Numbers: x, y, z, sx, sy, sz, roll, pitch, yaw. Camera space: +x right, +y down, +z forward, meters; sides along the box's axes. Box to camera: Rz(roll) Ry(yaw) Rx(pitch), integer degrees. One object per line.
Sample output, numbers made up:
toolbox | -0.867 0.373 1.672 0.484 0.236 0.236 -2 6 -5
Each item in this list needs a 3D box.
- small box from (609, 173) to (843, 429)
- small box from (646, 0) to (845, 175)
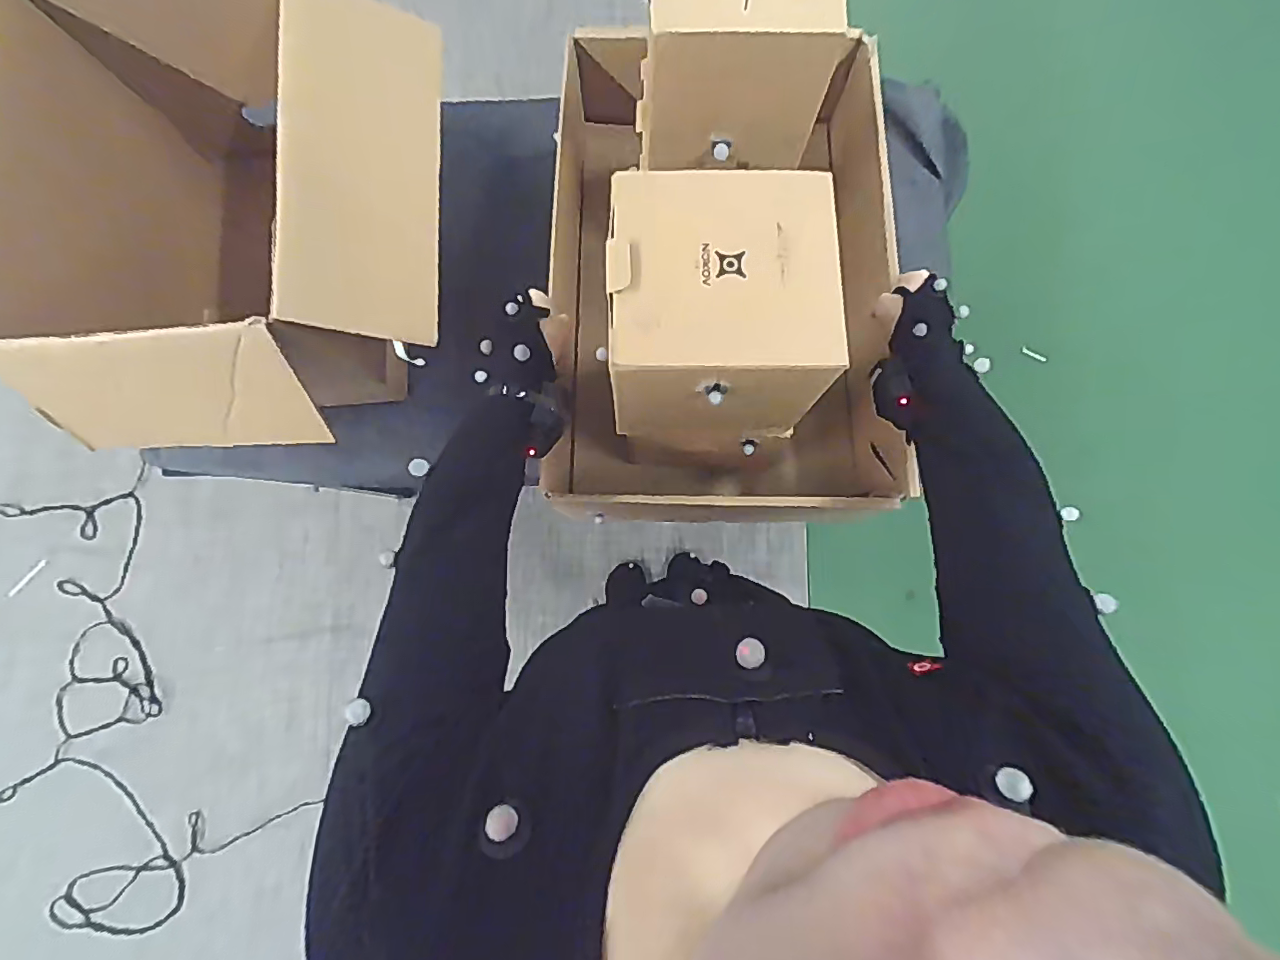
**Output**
small box | 0.064 -0.147 0.493 0.179 0.176 0.168 -1 79 -1
small box | 0.090 -0.438 0.544 0.168 0.176 0.179 0 80 0
